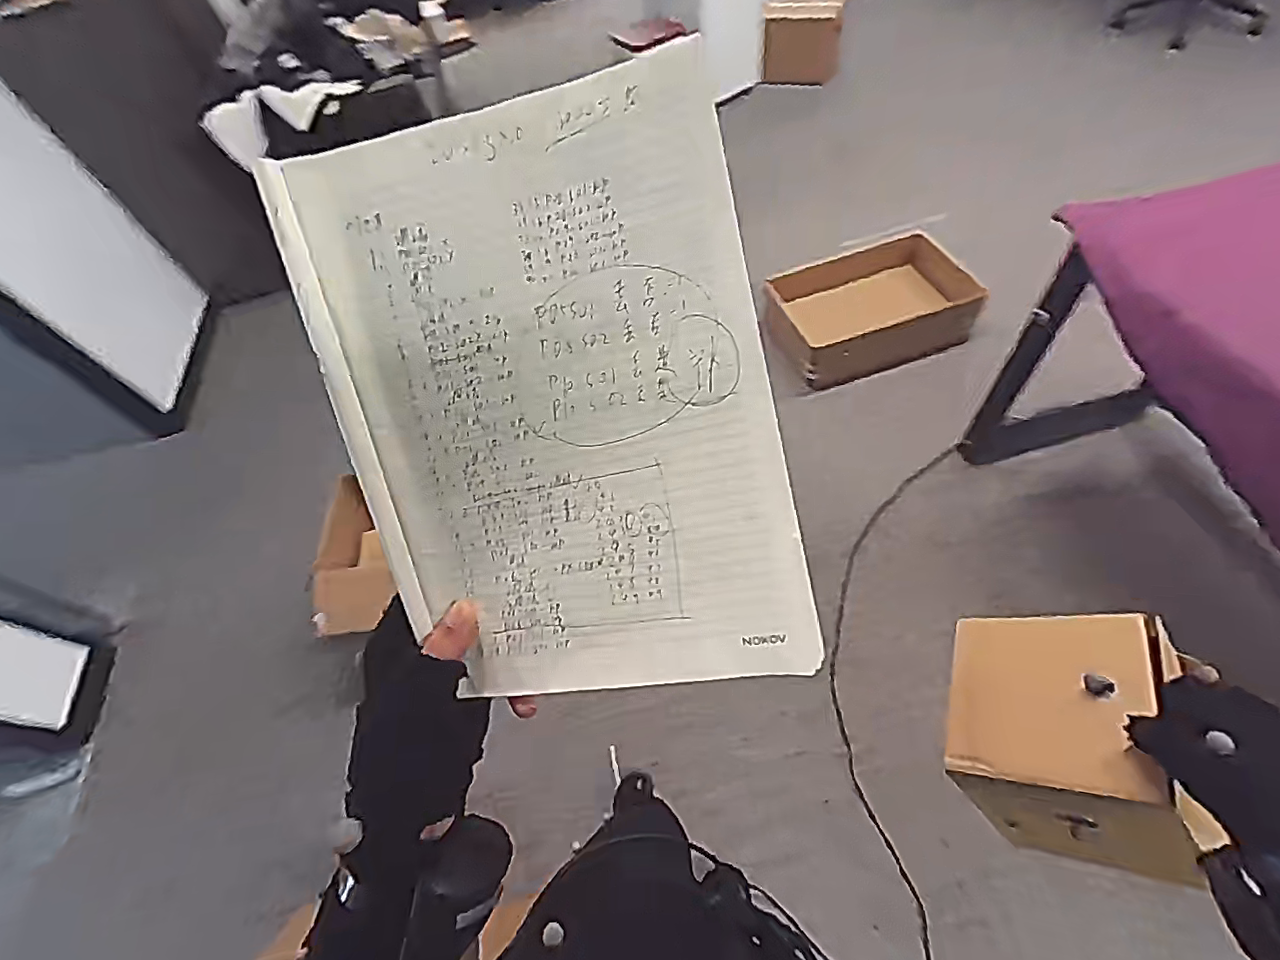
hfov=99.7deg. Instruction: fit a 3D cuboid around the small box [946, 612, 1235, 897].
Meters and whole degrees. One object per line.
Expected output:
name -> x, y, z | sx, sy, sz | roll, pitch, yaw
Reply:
small box -> 0.429, 0.255, 0.536 | 0.176, 0.168, 0.179 | -21, 29, 47
